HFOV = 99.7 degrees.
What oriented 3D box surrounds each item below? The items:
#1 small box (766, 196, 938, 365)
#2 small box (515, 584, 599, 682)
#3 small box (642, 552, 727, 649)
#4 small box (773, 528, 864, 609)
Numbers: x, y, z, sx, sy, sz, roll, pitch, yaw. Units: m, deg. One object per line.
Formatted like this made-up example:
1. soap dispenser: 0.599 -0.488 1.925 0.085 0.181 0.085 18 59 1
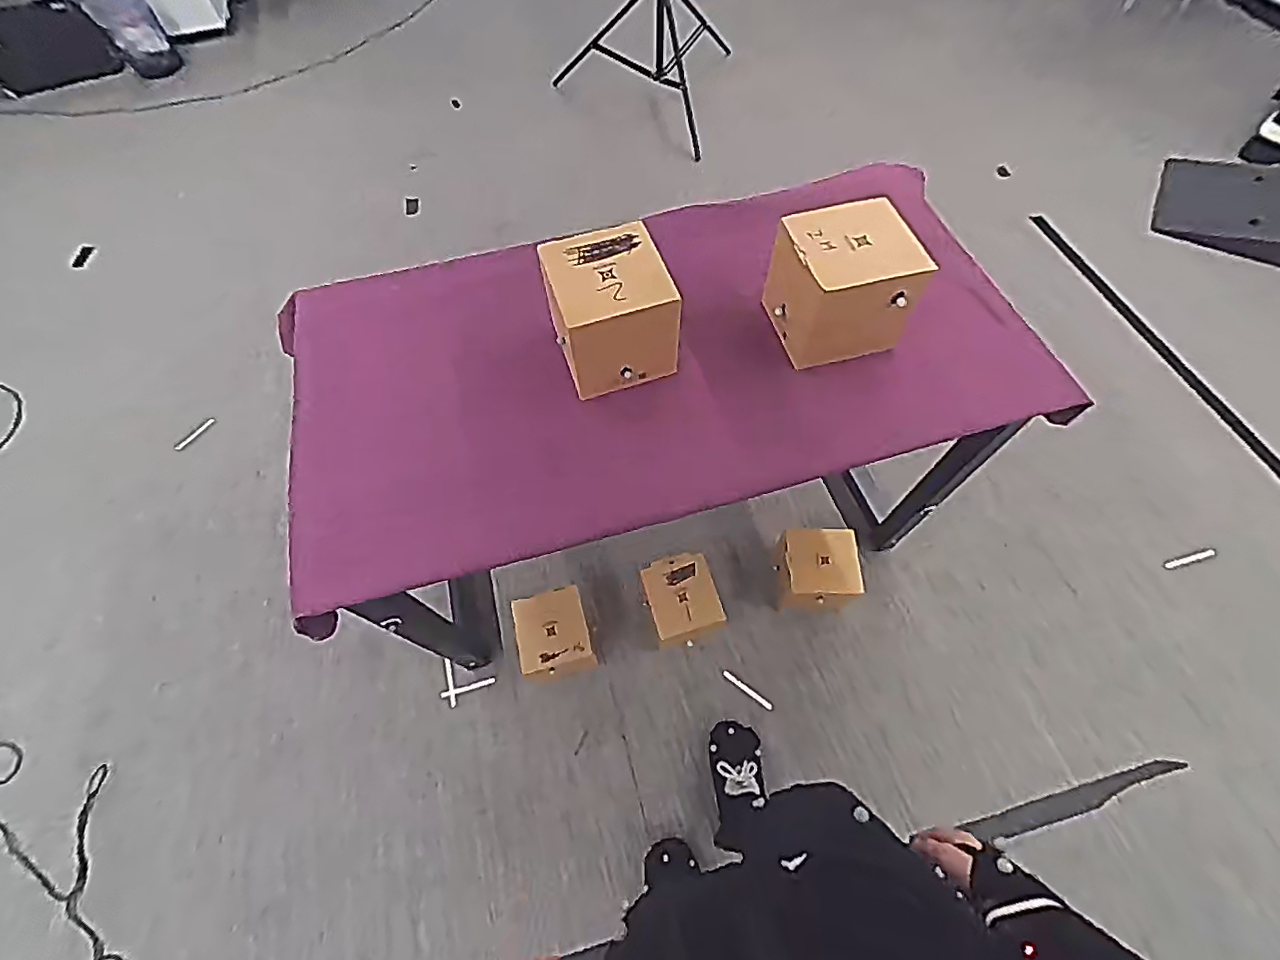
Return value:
1. small box: 0.318 -0.308 0.852 0.179 0.176 0.168 -13 62 -4
2. small box: -0.202 0.381 1.335 0.168 0.176 0.179 -13 62 -5
3. small box: 0.105 0.307 1.362 0.168 0.176 0.179 -15 64 -6
4. small box: 0.452 0.231 1.392 0.179 0.176 0.168 0 63 3
